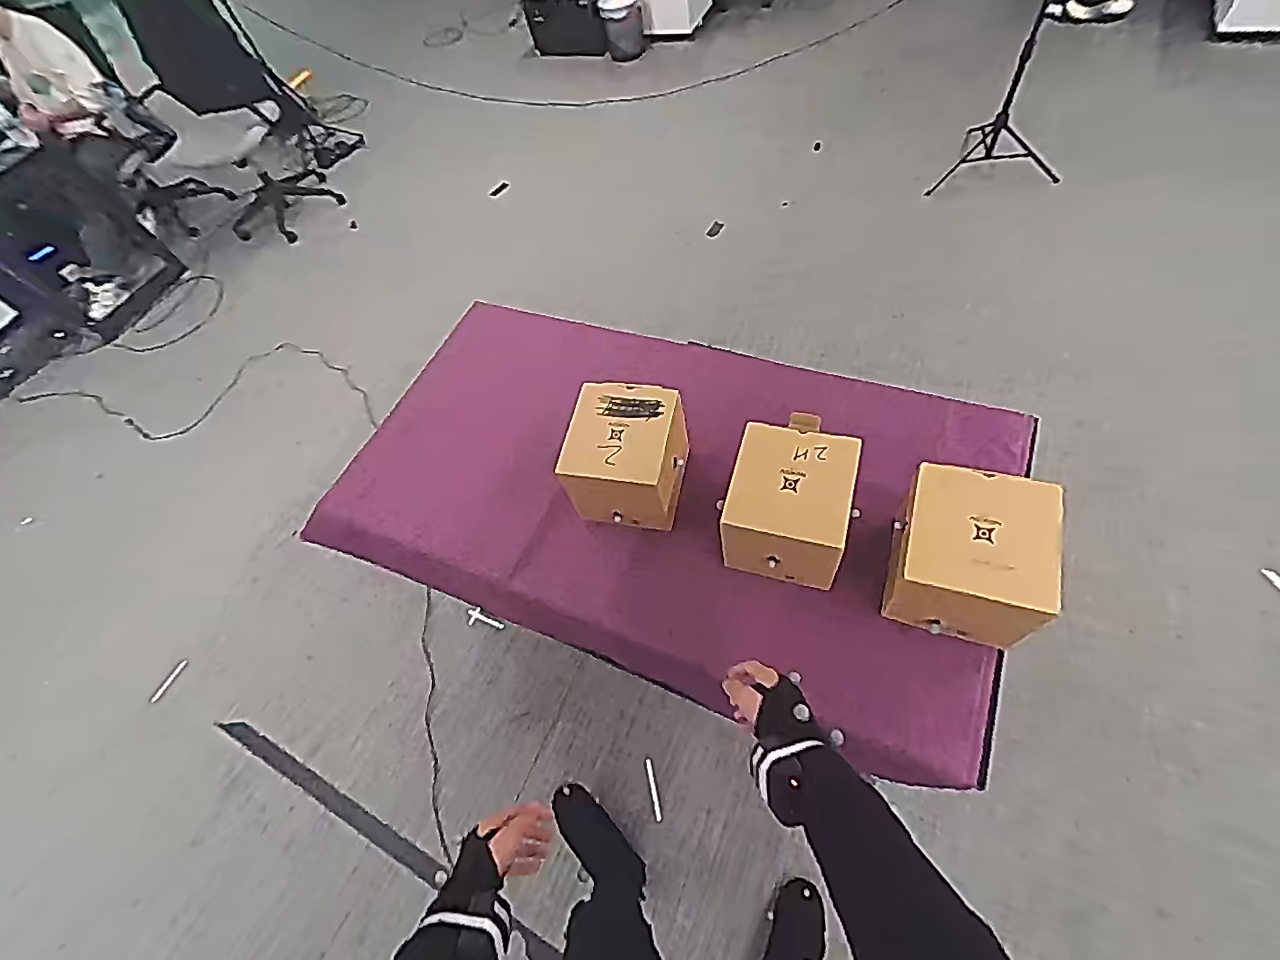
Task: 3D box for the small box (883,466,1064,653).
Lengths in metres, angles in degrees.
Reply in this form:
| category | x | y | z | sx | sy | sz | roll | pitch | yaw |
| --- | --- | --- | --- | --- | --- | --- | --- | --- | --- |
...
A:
| category | x | y | z | sx | sy | sz | roll | pitch | yaw |
| --- | --- | --- | --- | --- | --- | --- | --- | --- | --- |
| small box | 0.443 | 0.110 | 0.737 | 0.168 | 0.176 | 0.179 | 13 | 63 | 20 |

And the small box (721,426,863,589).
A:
| category | x | y | z | sx | sy | sz | roll | pitch | yaw |
| --- | --- | --- | --- | --- | --- | --- | --- | --- | --- |
| small box | 0.228 | 0.046 | 0.819 | 0.168 | 0.176 | 0.179 | 12 | 62 | 18 |
